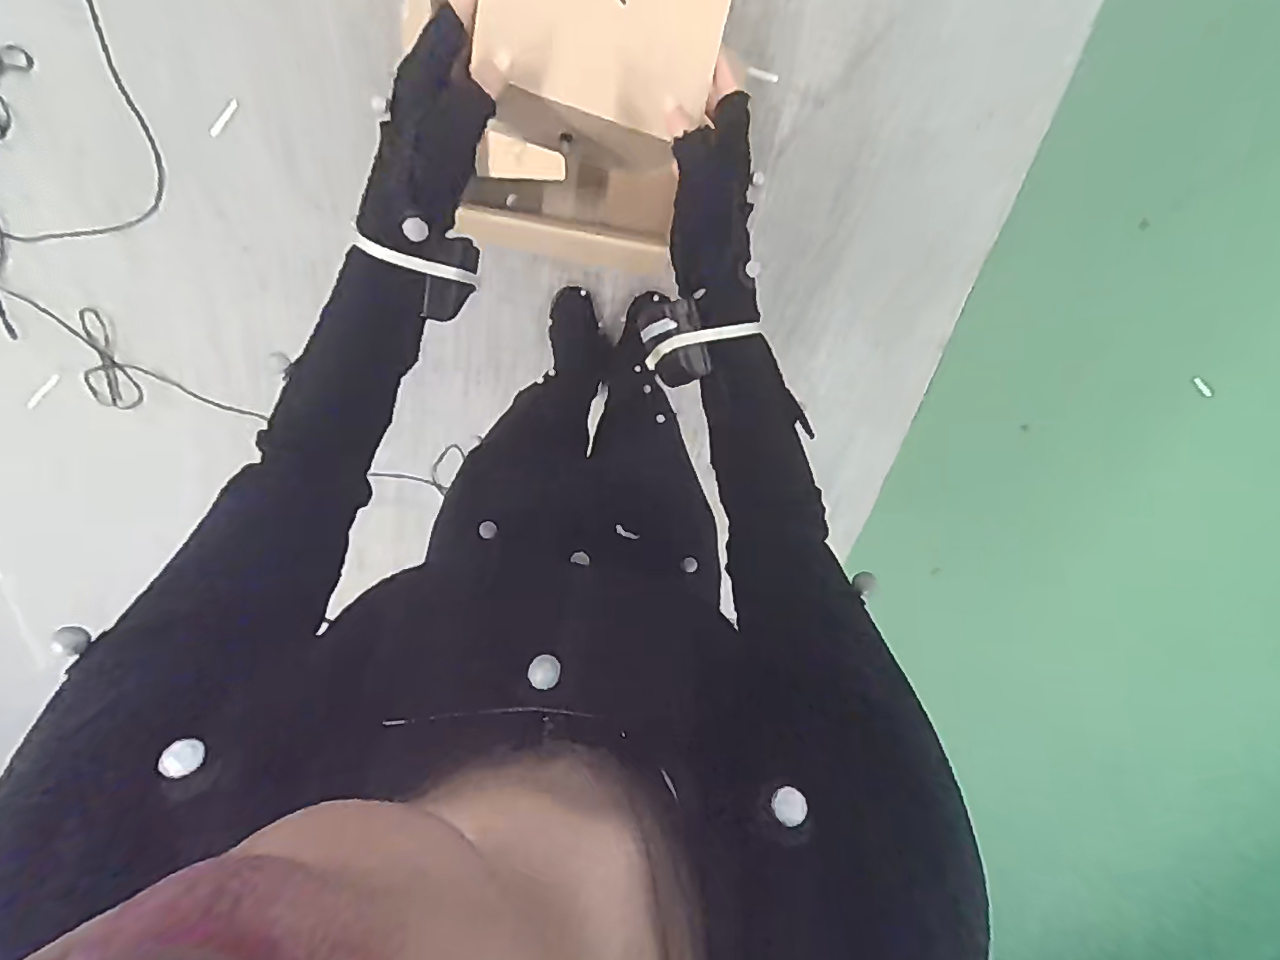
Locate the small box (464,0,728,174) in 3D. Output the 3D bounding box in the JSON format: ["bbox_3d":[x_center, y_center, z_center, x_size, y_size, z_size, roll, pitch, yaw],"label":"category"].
[{"bbox_3d":[-0.037,-0.363,0.422,0.168,0.176,0.179,8,108,-19],"label":"small box"}]
